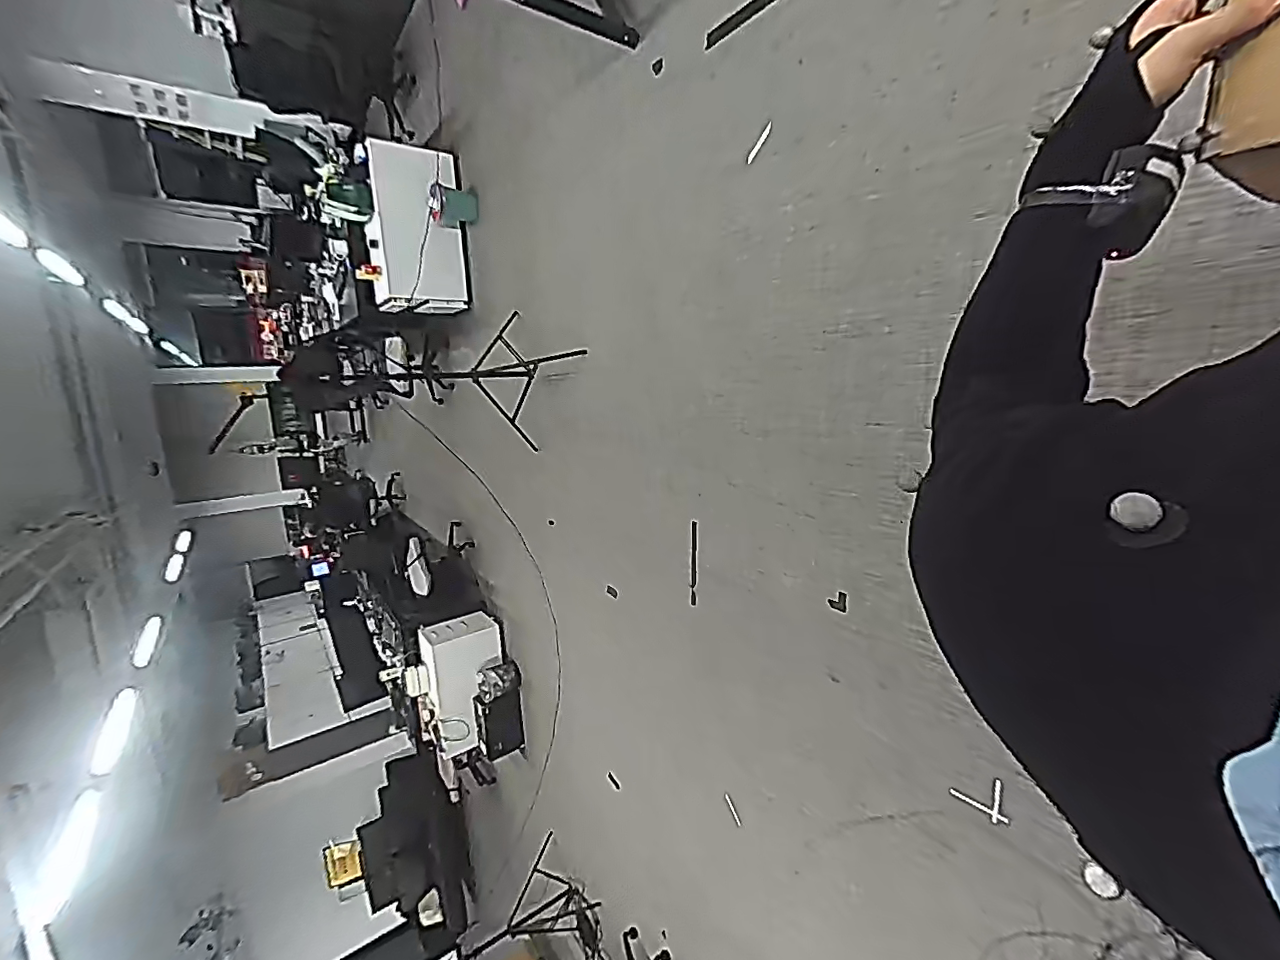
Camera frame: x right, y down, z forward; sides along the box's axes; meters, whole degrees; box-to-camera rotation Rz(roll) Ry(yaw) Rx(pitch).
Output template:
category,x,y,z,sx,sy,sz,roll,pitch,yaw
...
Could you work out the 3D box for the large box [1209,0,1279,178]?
category,x,y,z,sx,sy,sz,roll,pitch,yaw
large box,0.640,-0.387,0.277,0.408,0.320,0.320,16,112,56
